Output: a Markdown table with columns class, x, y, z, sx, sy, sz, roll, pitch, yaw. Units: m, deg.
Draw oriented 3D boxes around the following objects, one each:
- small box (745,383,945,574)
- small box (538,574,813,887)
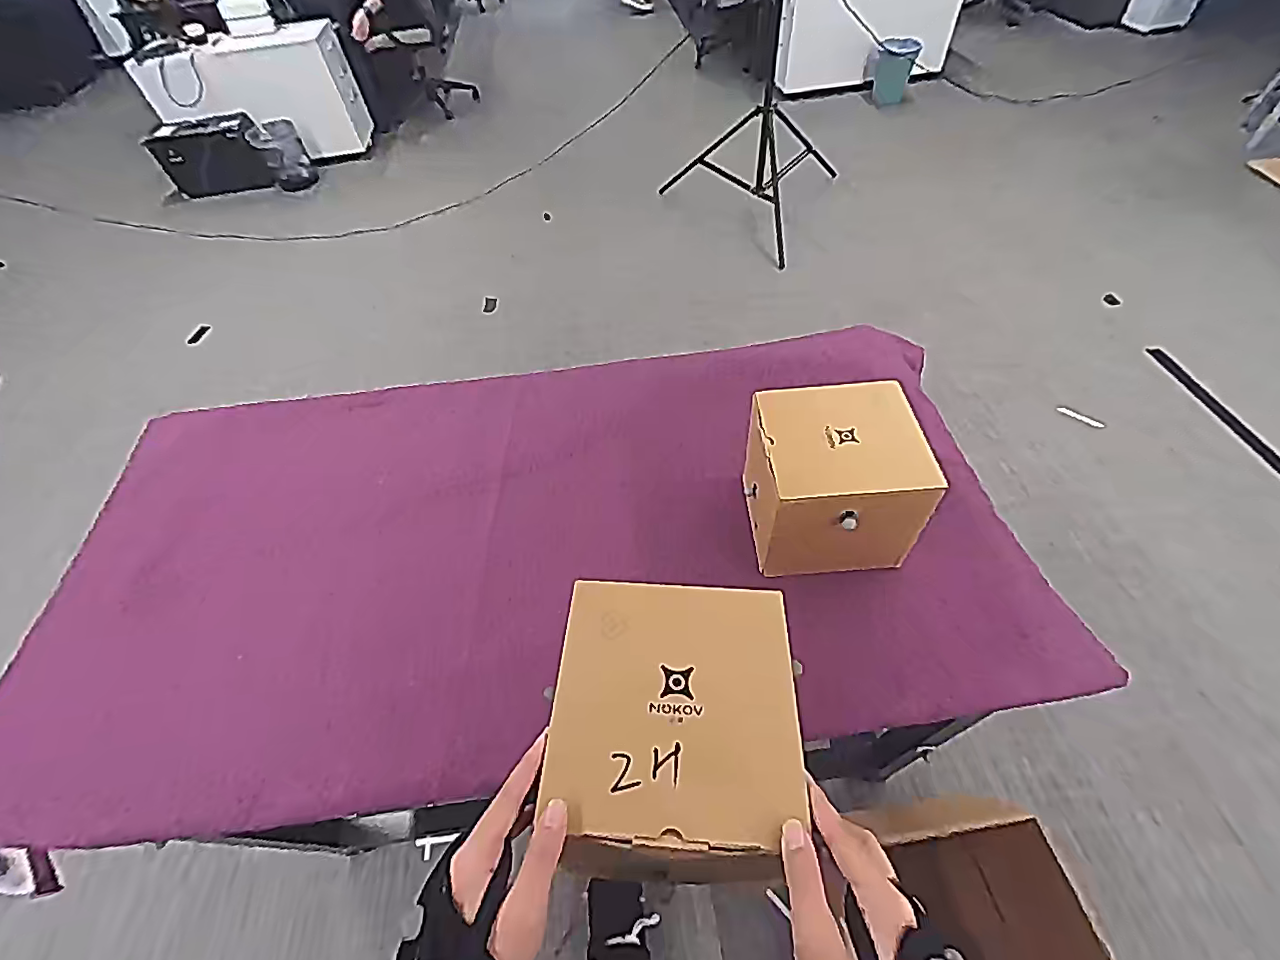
| class | x | y | z | sx | sy | sz | roll | pitch | yaw |
| --- | --- | --- | --- | --- | --- | --- | --- | --- | --- |
| small box | 0.234 | 0.003 | 0.670 | 0.179 | 0.176 | 0.168 | -5 | 51 | 3 |
| small box | 0.026 | 0.198 | 0.430 | 0.168 | 0.176 | 0.179 | 3 | 47 | 3 |
